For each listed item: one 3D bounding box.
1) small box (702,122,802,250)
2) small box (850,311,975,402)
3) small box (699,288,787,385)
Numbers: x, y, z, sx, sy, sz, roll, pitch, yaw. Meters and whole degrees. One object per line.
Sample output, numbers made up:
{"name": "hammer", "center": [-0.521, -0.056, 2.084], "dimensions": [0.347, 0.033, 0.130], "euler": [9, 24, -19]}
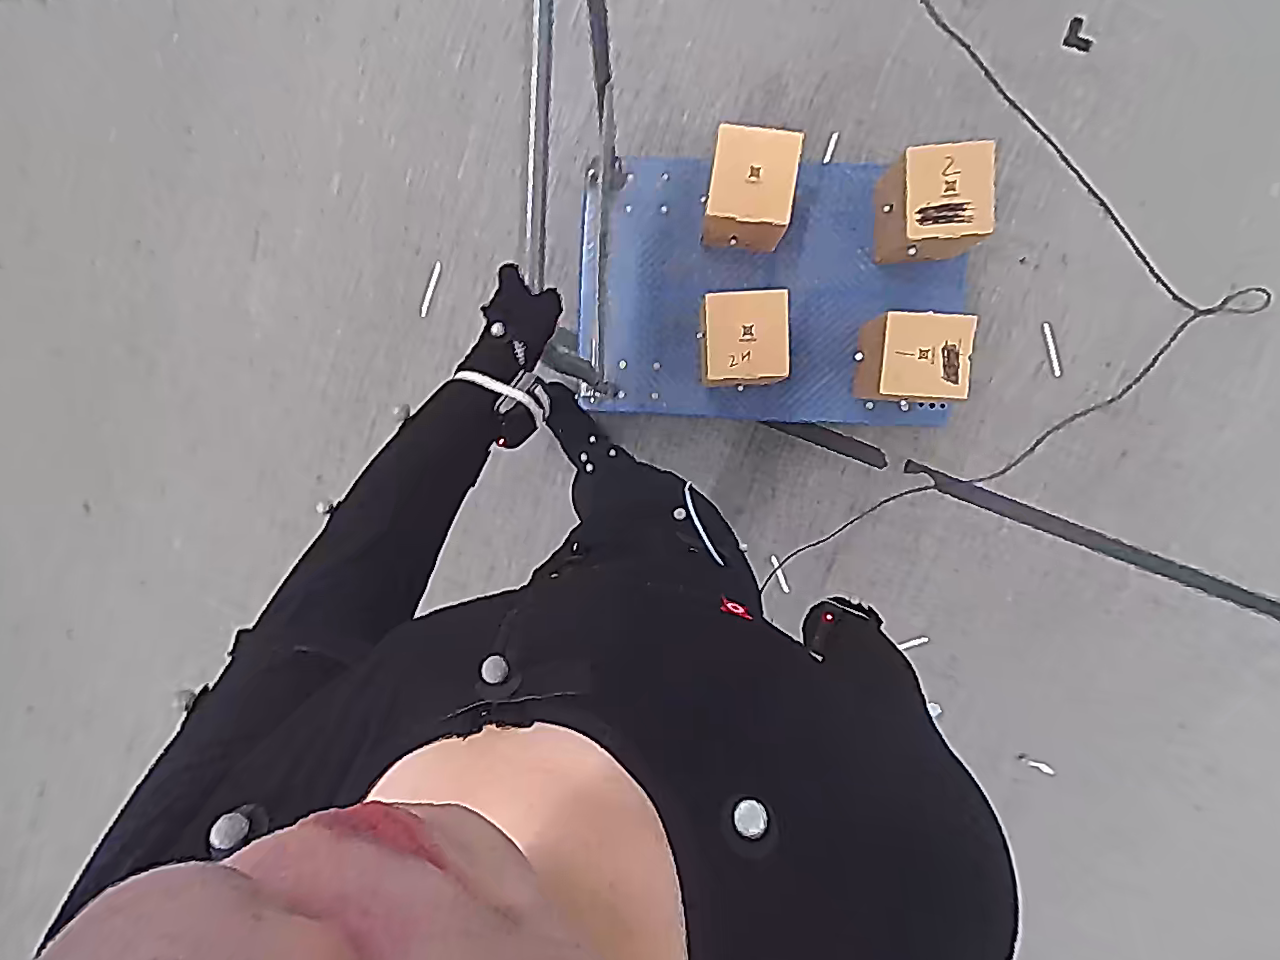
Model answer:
{"name": "small box", "center": [0.226, -0.609, 1.137], "dimensions": [0.168, 0.176, 0.179], "euler": [8, 97, 2]}
{"name": "small box", "center": [0.571, -0.257, 1.154], "dimensions": [0.179, 0.176, 0.168], "euler": [4, 96, 3]}
{"name": "small box", "center": [0.216, -0.302, 1.166], "dimensions": [0.168, 0.176, 0.179], "euler": [-2, 95, 3]}
